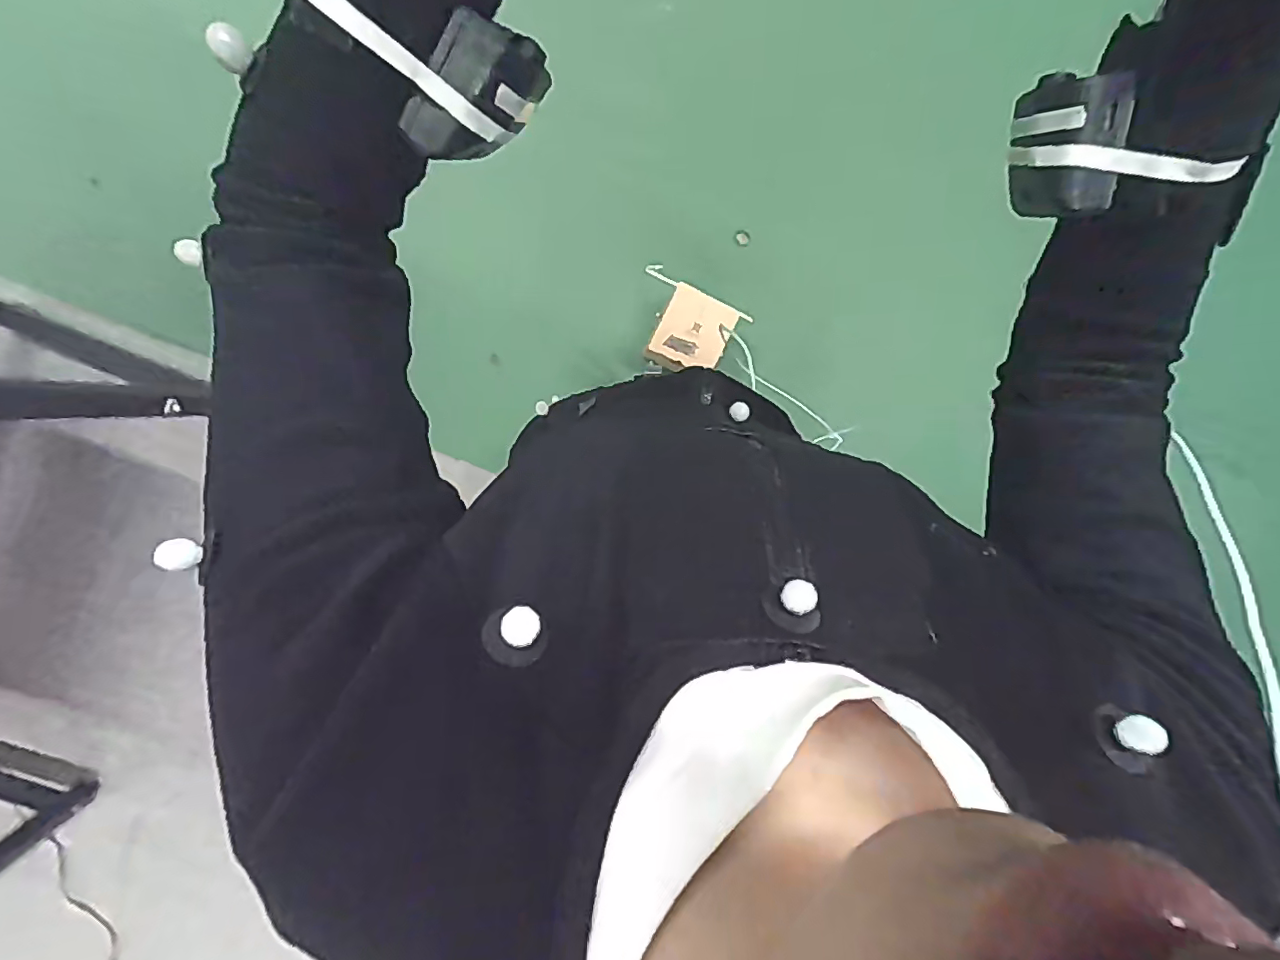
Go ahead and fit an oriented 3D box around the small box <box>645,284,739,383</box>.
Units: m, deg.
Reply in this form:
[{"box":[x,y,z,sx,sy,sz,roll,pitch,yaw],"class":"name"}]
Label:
[{"box":[0.121,-0.358,1.360,0.168,0.176,0.179,26,93,-8],"class":"small box"}]
